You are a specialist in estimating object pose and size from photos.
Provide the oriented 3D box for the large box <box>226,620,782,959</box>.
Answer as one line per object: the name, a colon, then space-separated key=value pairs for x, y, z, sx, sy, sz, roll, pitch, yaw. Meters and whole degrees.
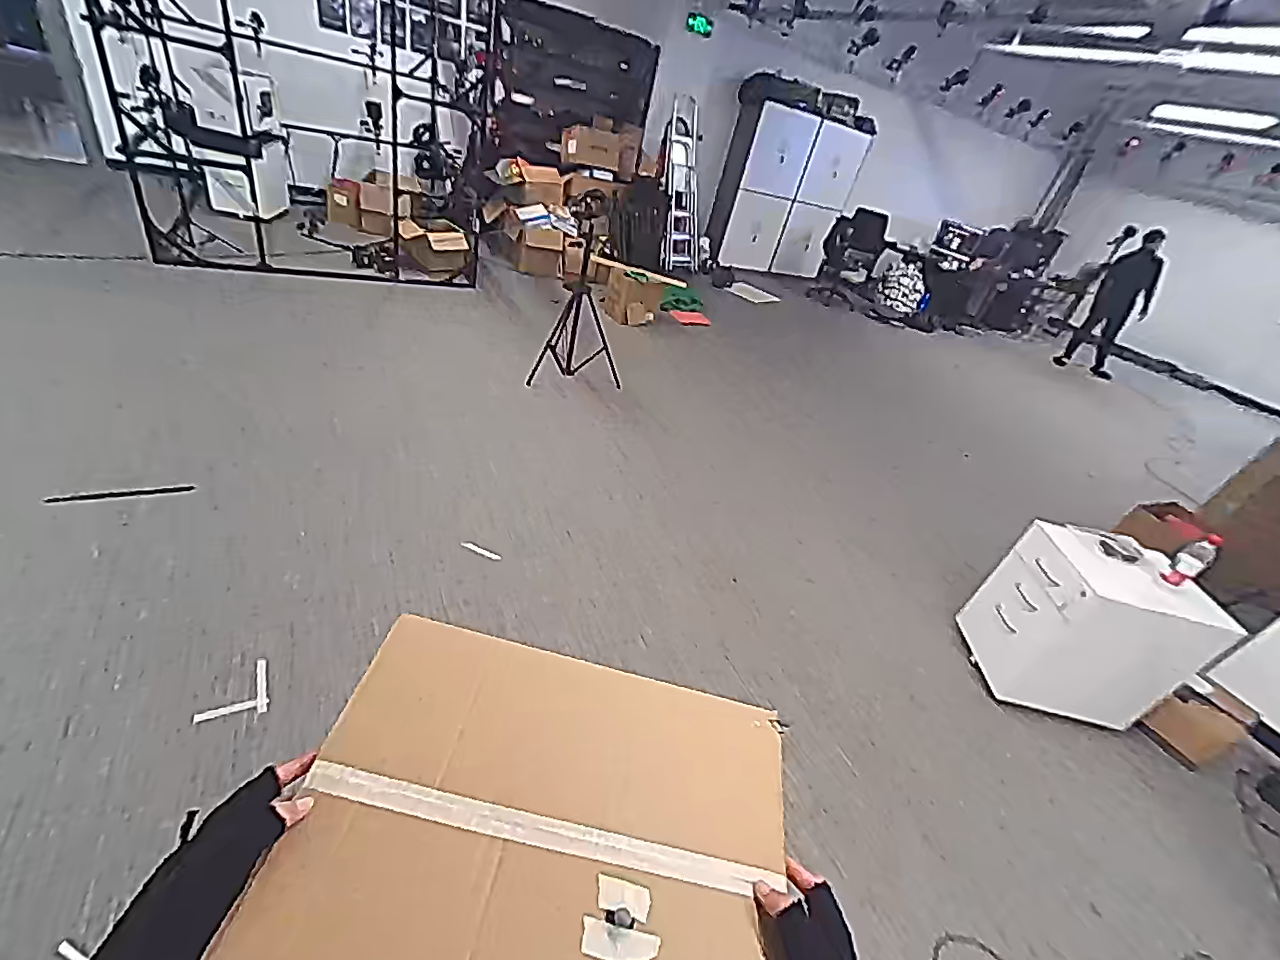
large box: x=-0.106 y=0.400 z=0.557 sx=0.408 sy=0.320 sz=0.320 roll=16 pitch=42 yaw=-3
